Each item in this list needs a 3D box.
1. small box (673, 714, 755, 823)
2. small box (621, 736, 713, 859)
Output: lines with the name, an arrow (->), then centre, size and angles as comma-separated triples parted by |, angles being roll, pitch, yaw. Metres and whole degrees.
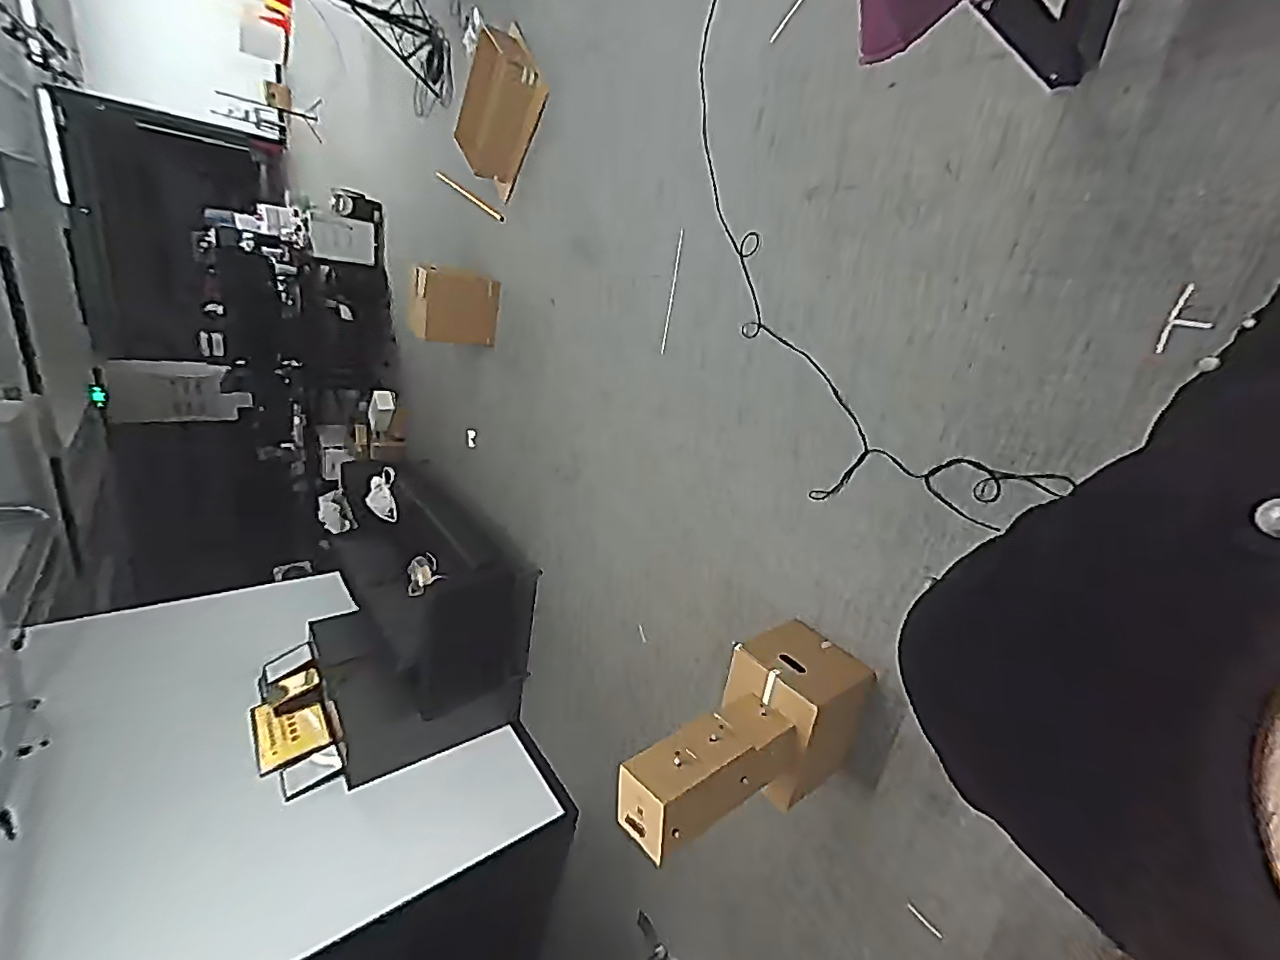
small box -> 0.197, 0.777, 1.479 | 0.168, 0.176, 0.179 | 19, 110, 48
small box -> 0.070, 0.797, 1.375 | 0.168, 0.176, 0.179 | 17, 109, 47
